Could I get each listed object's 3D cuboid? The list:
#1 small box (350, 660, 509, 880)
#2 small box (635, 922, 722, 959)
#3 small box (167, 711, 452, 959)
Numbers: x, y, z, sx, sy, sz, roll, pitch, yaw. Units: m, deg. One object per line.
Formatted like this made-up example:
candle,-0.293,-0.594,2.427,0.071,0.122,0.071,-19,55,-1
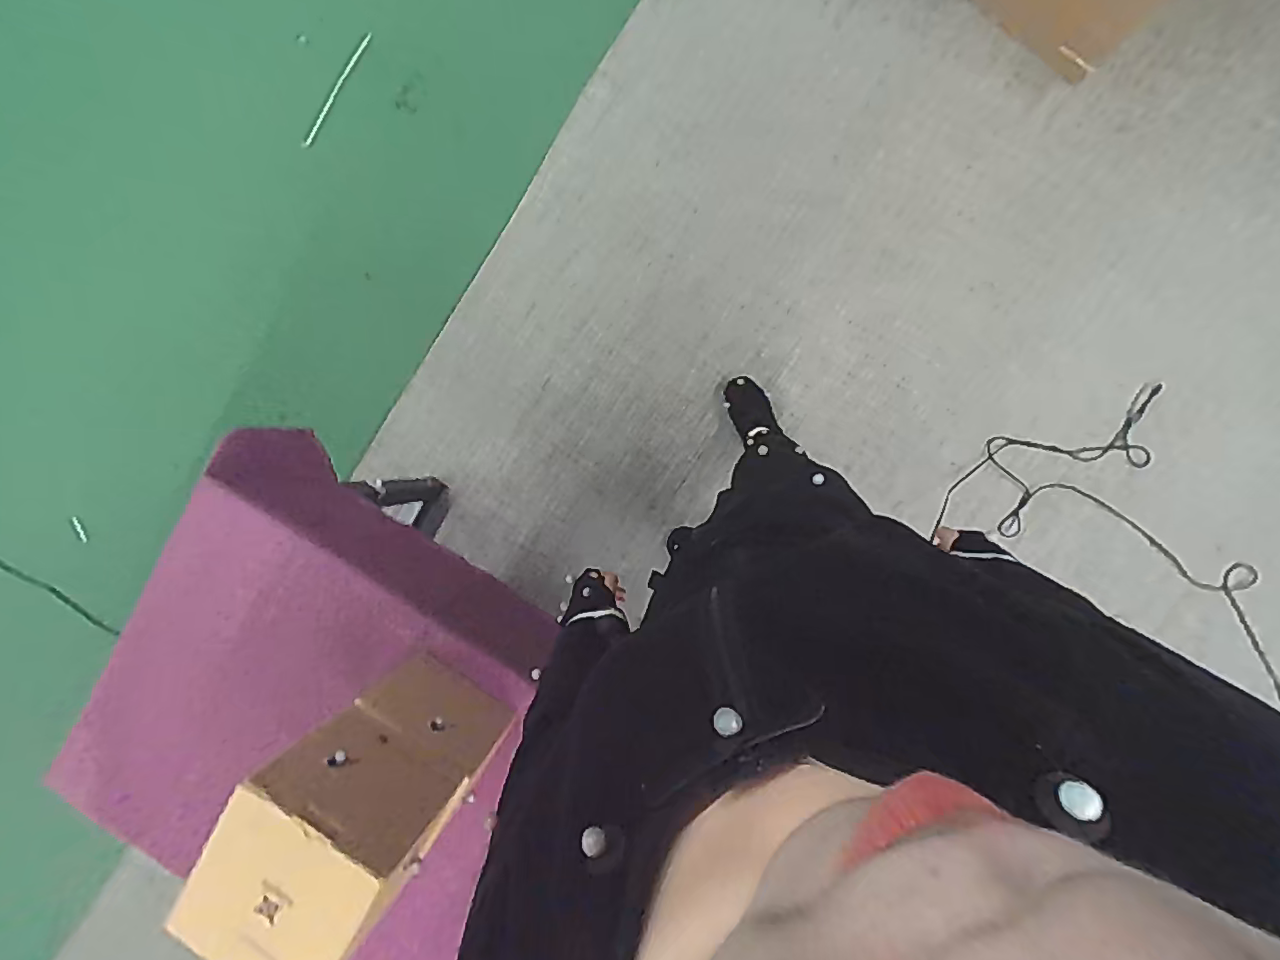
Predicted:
small box,-0.309,0.378,0.742,0.179,0.176,0.168,33,95,4
small box,0.044,0.617,0.547,0.168,0.176,0.179,31,97,6
small box,-0.331,0.389,0.581,0.168,0.176,0.179,31,96,5
